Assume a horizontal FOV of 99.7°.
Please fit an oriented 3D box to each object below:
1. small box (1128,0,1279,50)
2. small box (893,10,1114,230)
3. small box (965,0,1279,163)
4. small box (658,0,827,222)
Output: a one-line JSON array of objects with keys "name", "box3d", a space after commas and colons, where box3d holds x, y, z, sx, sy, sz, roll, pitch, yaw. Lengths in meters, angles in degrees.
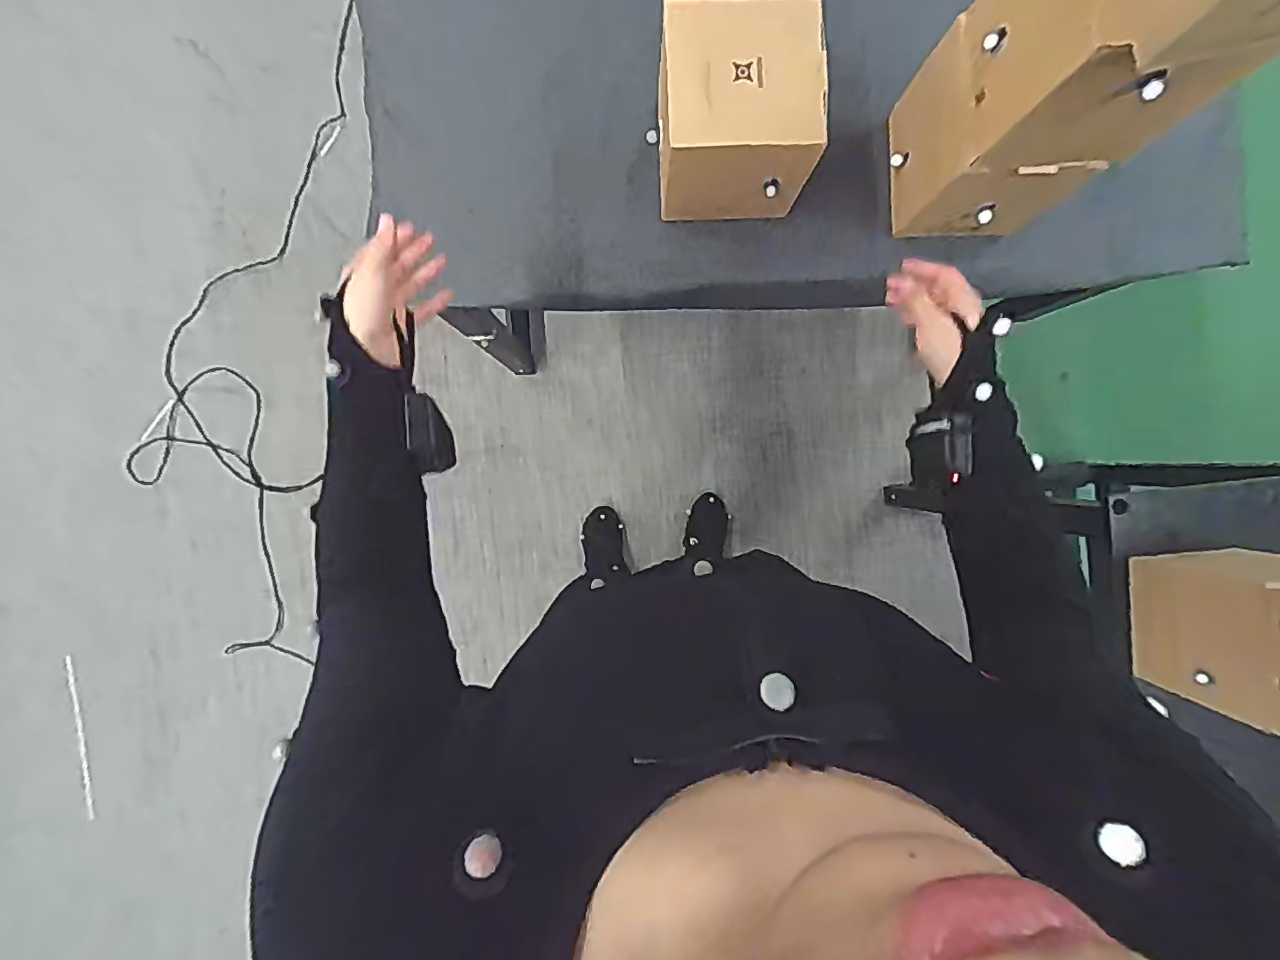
[{"name": "small box", "box3d": [0.446, -0.415, 0.335, 0.168, 0.176, 0.179, -12, 90, 0]}, {"name": "small box", "box3d": [0.429, -0.424, 0.663, 0.168, 0.176, 0.179, -2, 91, 0]}, {"name": "small box", "box3d": [0.438, -0.424, 0.501, 0.179, 0.176, 0.168, -4, 90, 1]}, {"name": "small box", "box3d": [0.114, -0.438, 0.665, 0.179, 0.176, 0.168, -3, 90, 1]}]
